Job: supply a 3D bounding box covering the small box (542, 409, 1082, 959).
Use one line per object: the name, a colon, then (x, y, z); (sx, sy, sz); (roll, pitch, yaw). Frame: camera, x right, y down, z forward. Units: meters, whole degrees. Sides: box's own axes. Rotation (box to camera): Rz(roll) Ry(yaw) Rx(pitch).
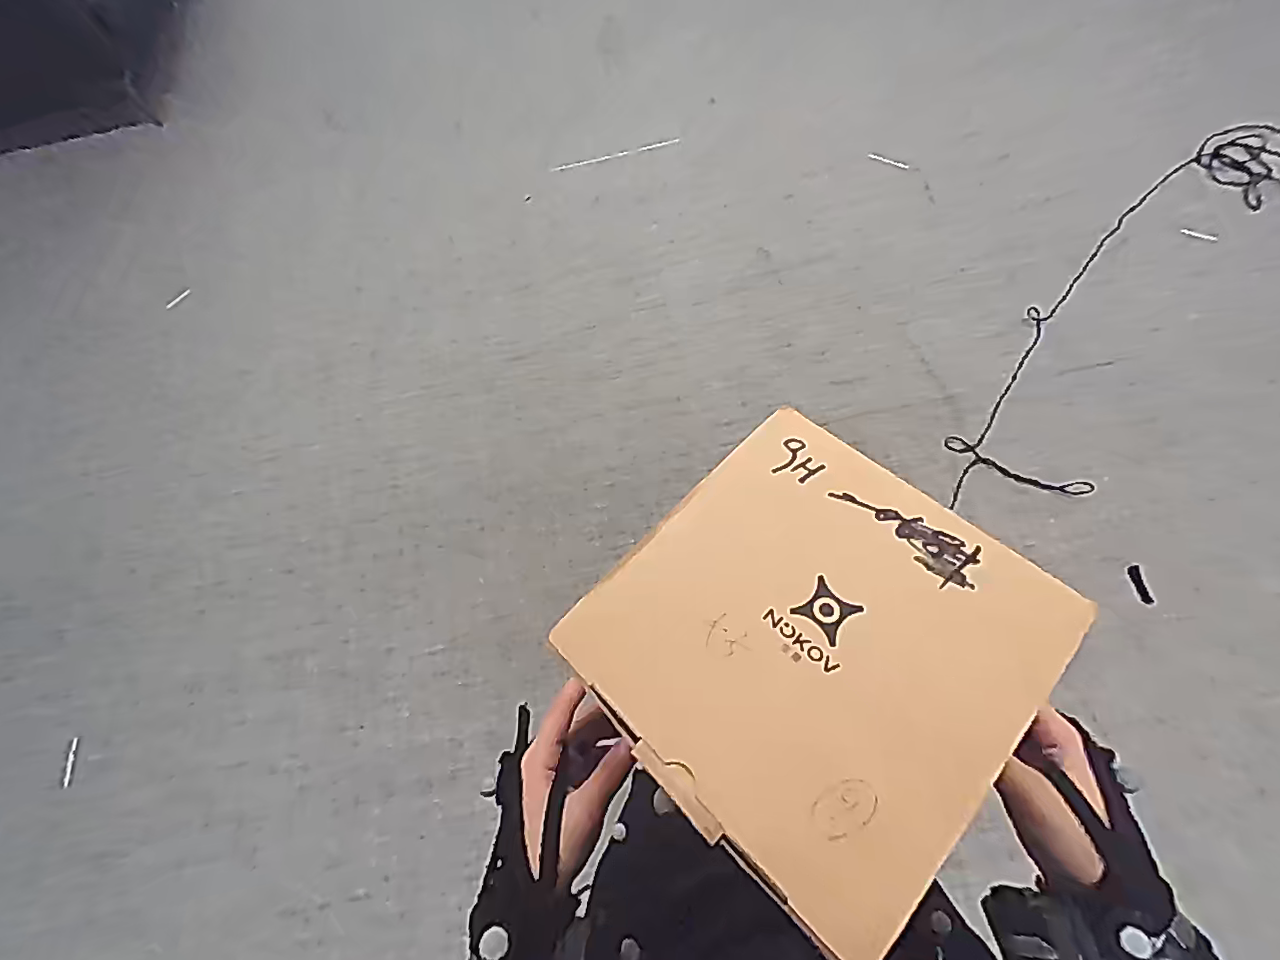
small box: (0.079, 0.102, 0.305); (0.179, 0.176, 0.168); (-42, 64, -17)
